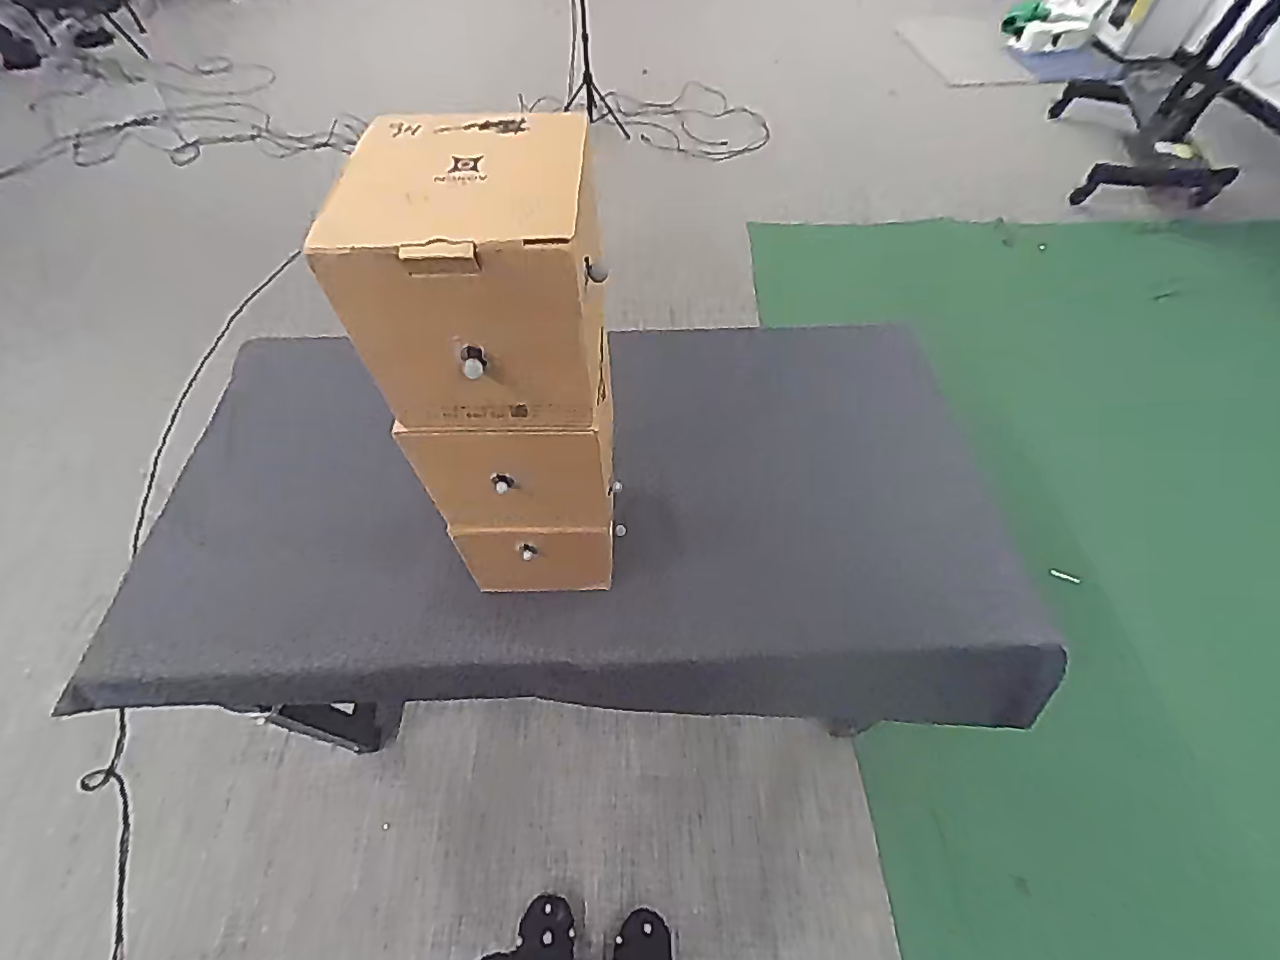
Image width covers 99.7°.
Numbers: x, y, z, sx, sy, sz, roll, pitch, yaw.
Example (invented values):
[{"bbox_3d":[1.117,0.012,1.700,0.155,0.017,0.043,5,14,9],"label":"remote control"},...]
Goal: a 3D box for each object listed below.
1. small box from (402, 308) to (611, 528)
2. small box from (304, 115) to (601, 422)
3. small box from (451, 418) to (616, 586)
[{"bbox_3d":[-0.119,-0.060,0.566,0.179,0.176,0.168,-3,57,-2],"label":"small box"},{"bbox_3d":[-0.121,-0.160,0.436,0.168,0.176,0.179,-1,57,1],"label":"small box"},{"bbox_3d":[-0.122,0.032,0.702,0.179,0.176,0.168,-1,57,-1],"label":"small box"}]
